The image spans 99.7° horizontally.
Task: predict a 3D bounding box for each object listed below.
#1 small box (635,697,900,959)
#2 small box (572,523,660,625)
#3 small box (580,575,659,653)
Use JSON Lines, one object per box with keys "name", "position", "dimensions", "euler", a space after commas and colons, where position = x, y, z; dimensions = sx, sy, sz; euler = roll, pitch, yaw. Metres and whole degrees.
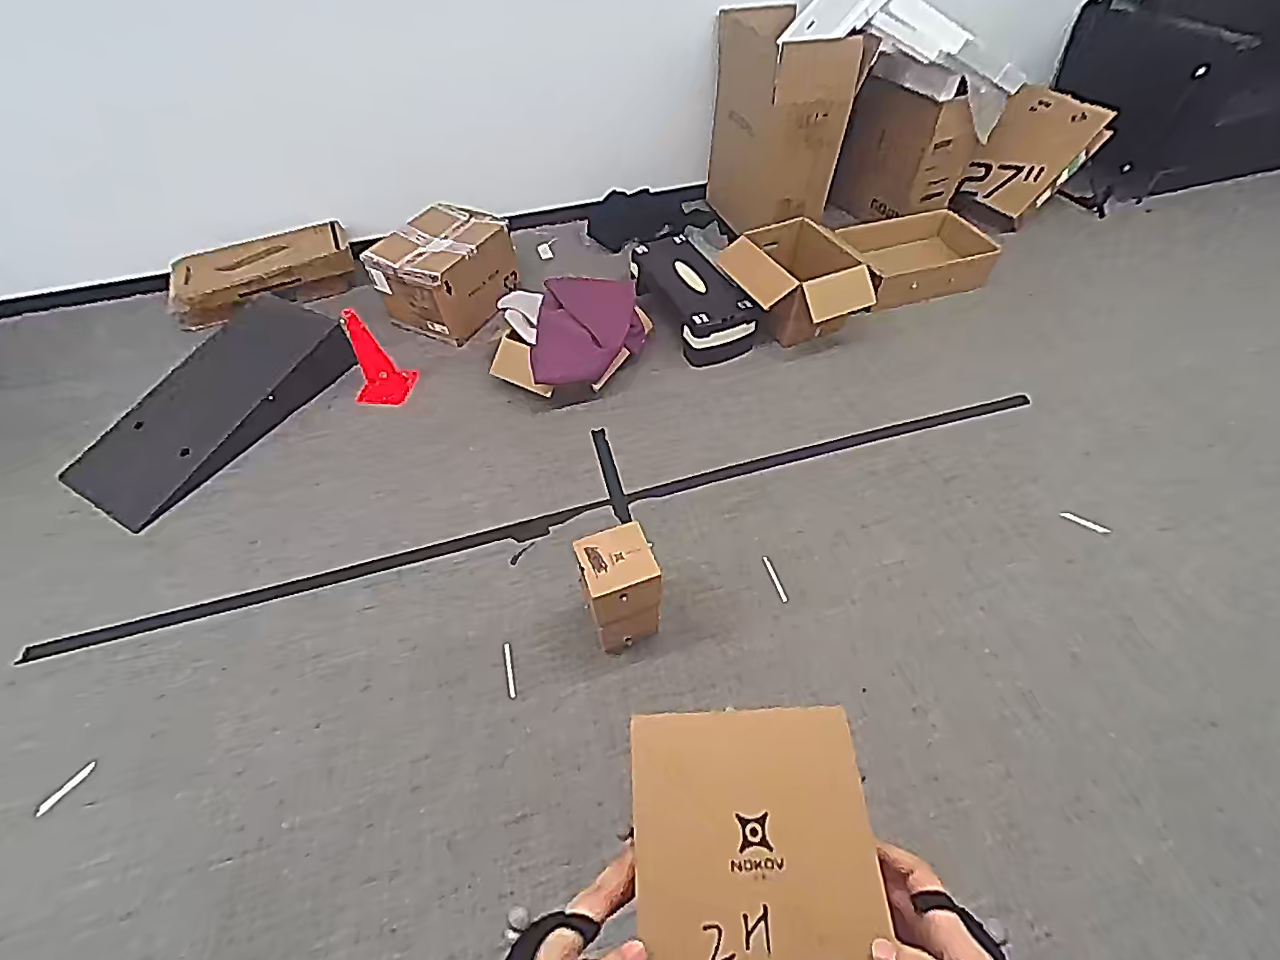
{"name": "small box", "position": [0.079, 0.284, 0.437], "dimensions": [0.168, 0.176, 0.179], "euler": [-2, 59, 0]}
{"name": "small box", "position": [-0.056, 0.240, 1.356], "dimensions": [0.179, 0.176, 0.168], "euler": [-18, 54, -11]}
{"name": "small box", "position": [-0.055, 0.343, 1.484], "dimensions": [0.168, 0.176, 0.179], "euler": [-20, 55, -12]}
